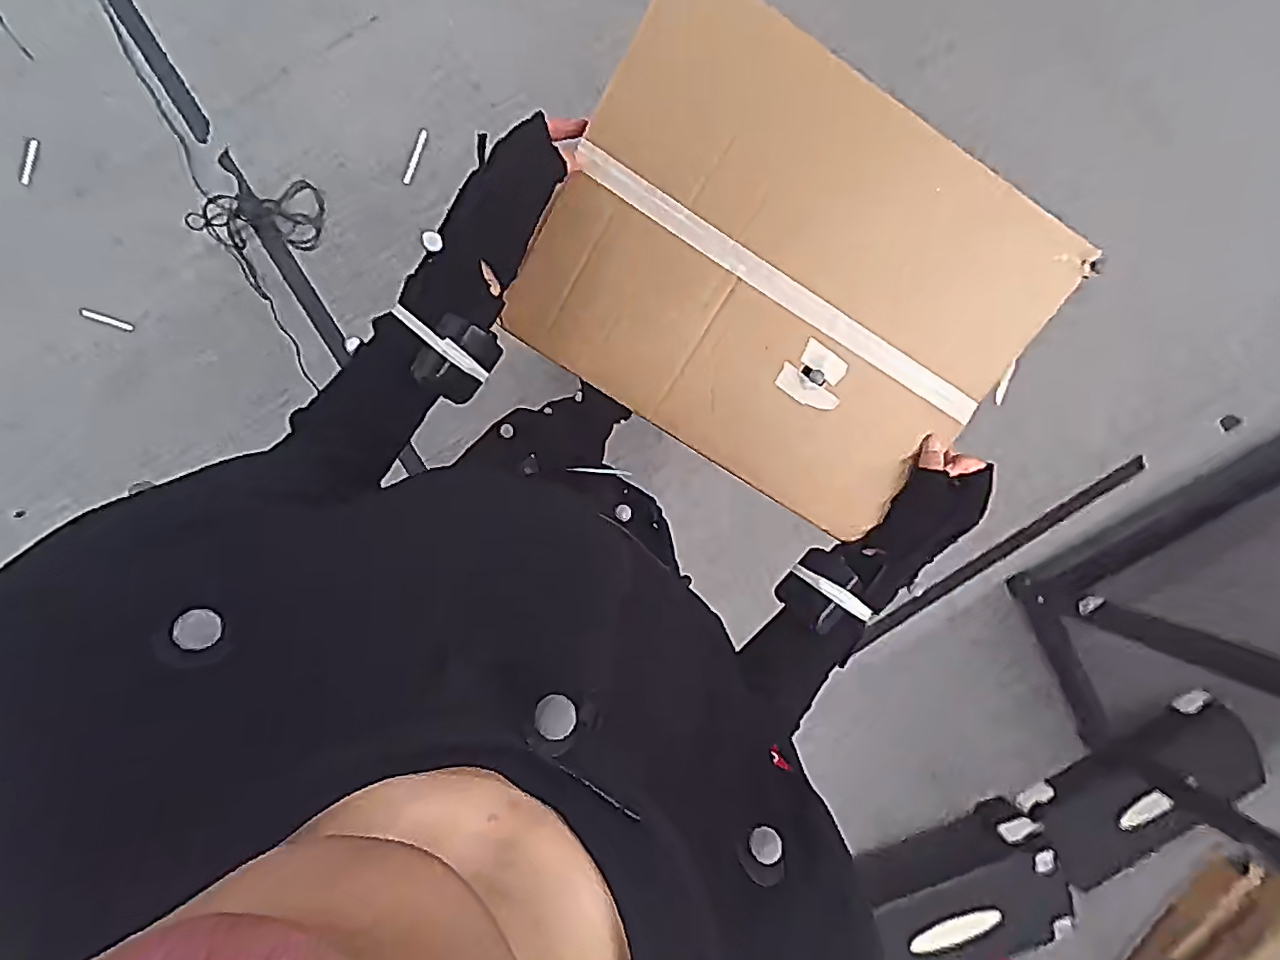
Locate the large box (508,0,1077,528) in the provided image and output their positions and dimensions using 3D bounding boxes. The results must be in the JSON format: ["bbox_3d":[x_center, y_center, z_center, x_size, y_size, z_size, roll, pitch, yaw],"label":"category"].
[{"bbox_3d":[0.129,-0.215,0.615,0.408,0.320,0.320,32,106,-7],"label":"large box"}]
